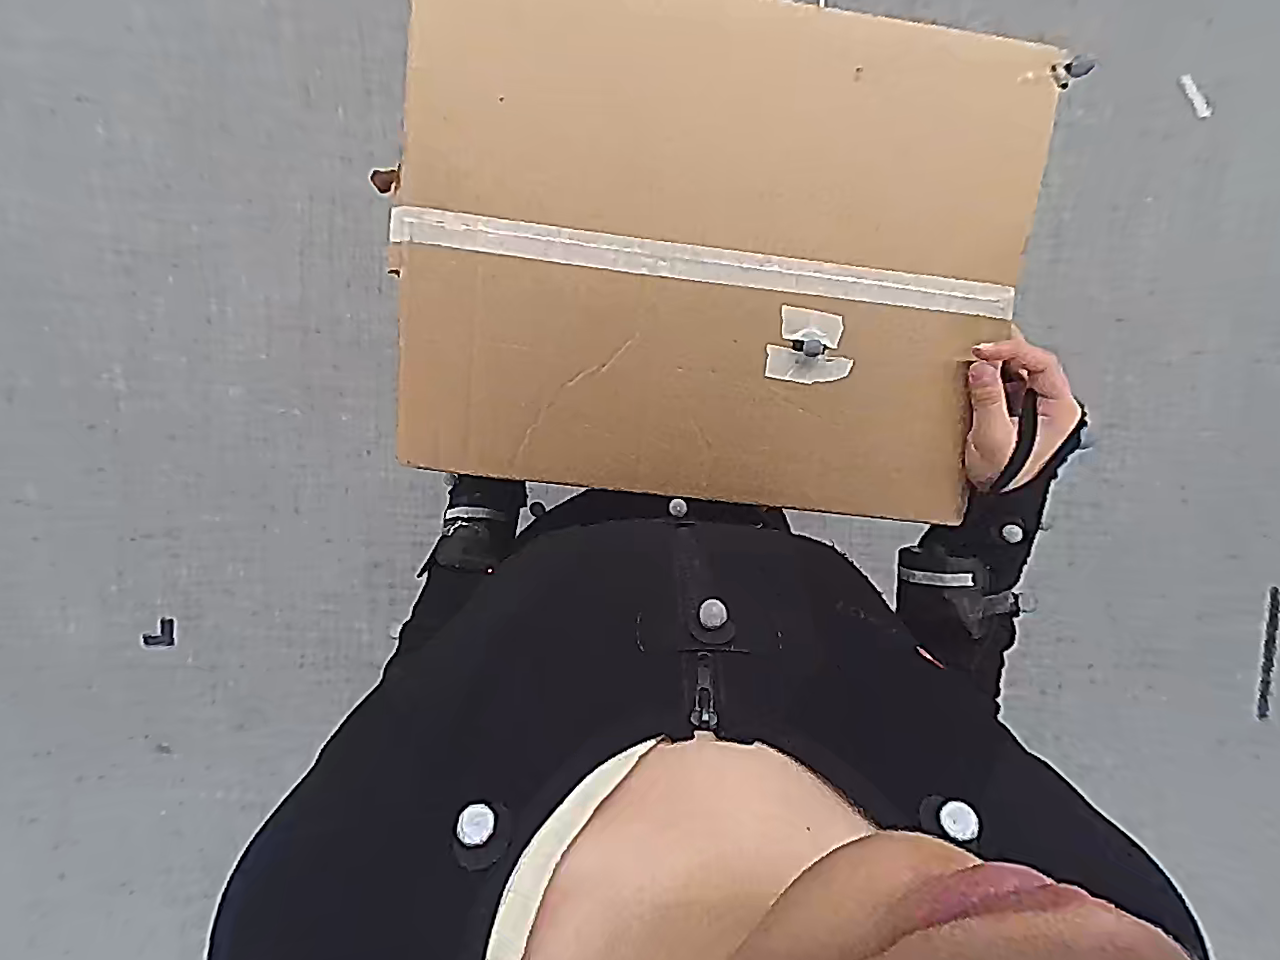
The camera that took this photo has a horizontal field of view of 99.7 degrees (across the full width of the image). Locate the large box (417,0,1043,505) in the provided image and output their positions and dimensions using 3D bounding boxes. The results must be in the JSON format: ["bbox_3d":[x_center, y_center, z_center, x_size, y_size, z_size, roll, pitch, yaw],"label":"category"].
[{"bbox_3d":[0.044,-0.171,0.509,0.408,0.320,0.320,5,101,-5],"label":"large box"}]
